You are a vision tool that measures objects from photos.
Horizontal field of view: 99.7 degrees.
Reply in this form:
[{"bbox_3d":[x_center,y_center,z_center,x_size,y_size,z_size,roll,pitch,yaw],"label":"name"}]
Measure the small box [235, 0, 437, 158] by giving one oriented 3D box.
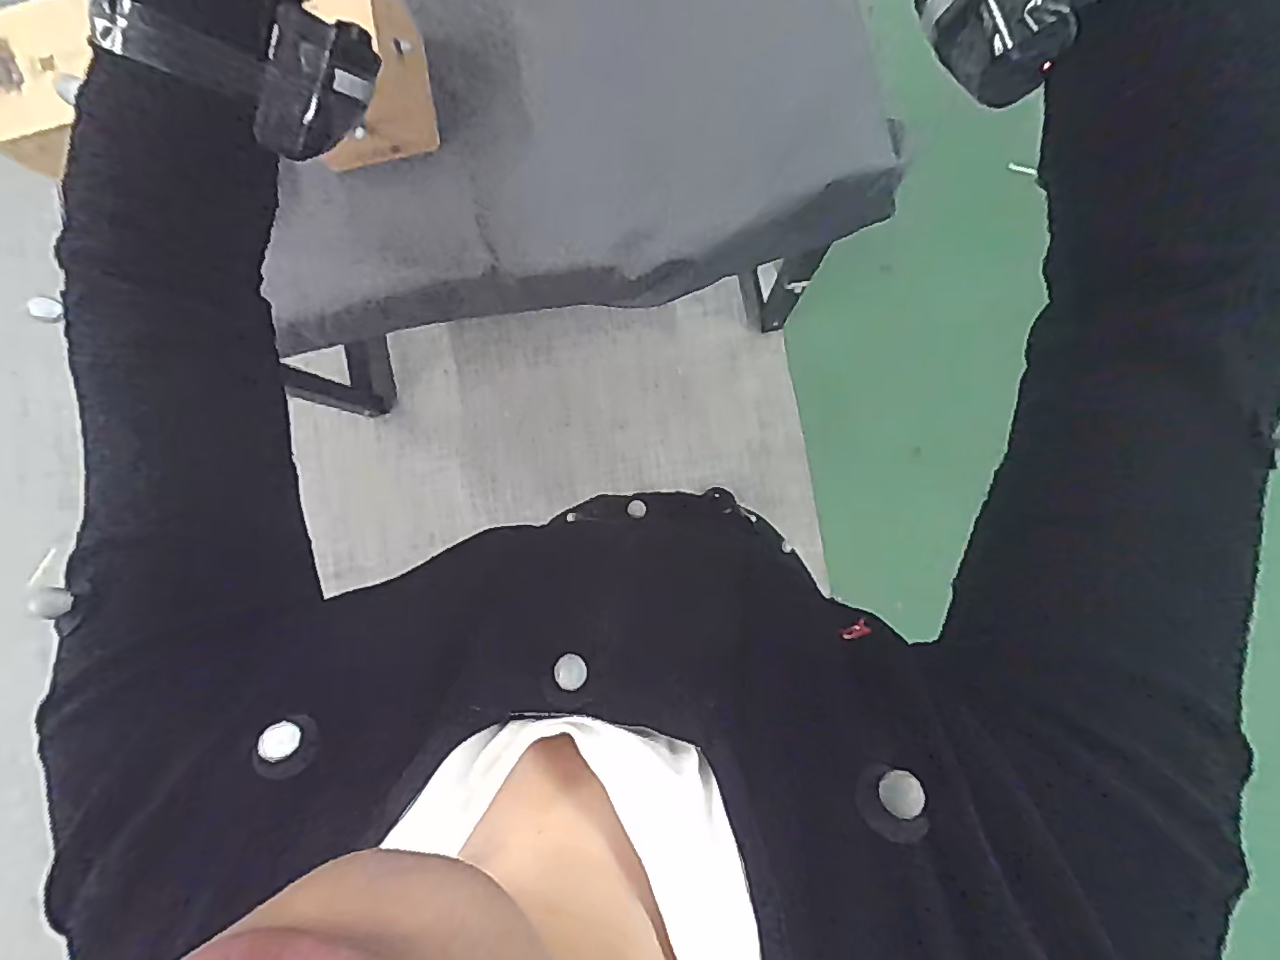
[{"bbox_3d":[-0.387,-0.558,0.711,0.168,0.176,0.179,-10,88,3],"label":"small box"}]
